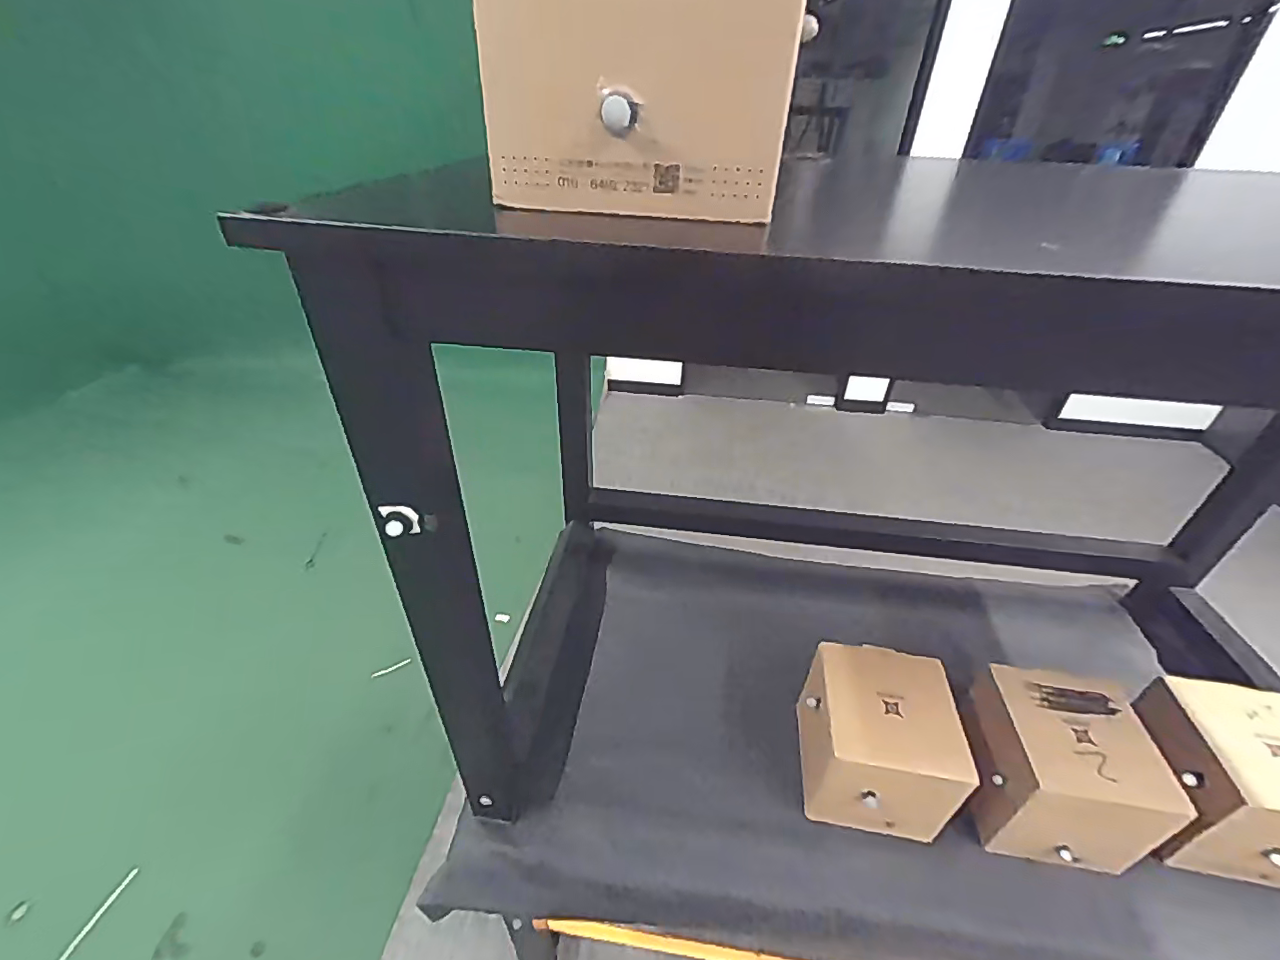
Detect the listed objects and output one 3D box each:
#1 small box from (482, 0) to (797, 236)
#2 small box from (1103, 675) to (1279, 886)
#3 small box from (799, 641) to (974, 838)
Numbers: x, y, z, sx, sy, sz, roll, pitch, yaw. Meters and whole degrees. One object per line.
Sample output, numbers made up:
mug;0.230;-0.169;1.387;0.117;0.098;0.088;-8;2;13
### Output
small box;0.005;-0.267;0.344;0.168;0.176;0.179;6;36;6
small box;0.770;0.392;0.706;0.168;0.176;0.179;8;35;8
small box;0.320;0.355;0.744;0.168;0.176;0.179;7;35;8
